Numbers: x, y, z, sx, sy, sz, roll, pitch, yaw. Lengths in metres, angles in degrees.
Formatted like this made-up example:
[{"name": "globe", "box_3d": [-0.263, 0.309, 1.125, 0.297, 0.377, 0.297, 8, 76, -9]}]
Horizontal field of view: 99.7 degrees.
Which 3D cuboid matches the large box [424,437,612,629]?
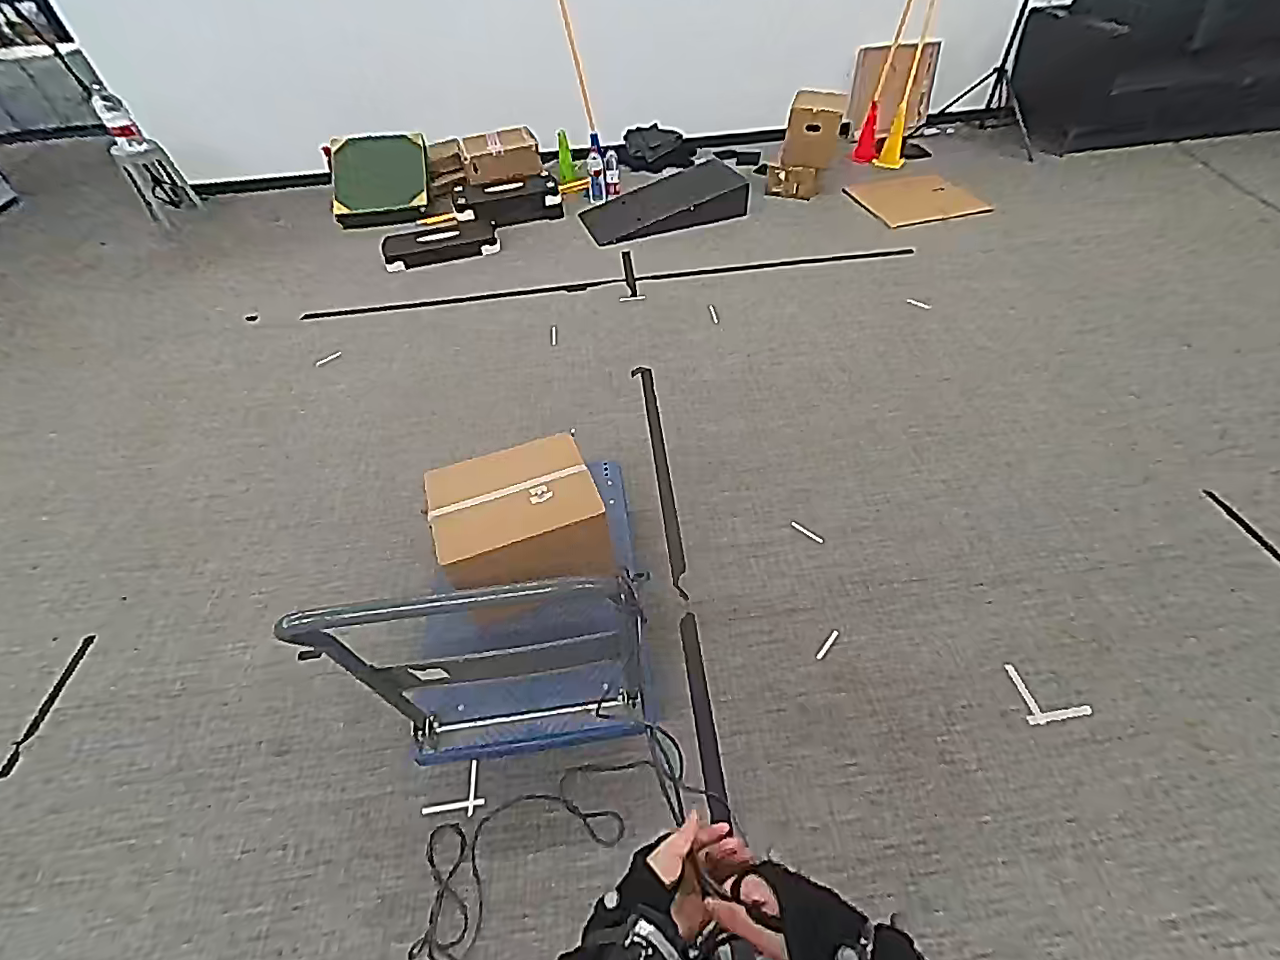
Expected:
[{"name": "large box", "box_3d": [-0.320, 0.142, 1.466, 0.408, 0.320, 0.320, -18, 50, -13]}]
